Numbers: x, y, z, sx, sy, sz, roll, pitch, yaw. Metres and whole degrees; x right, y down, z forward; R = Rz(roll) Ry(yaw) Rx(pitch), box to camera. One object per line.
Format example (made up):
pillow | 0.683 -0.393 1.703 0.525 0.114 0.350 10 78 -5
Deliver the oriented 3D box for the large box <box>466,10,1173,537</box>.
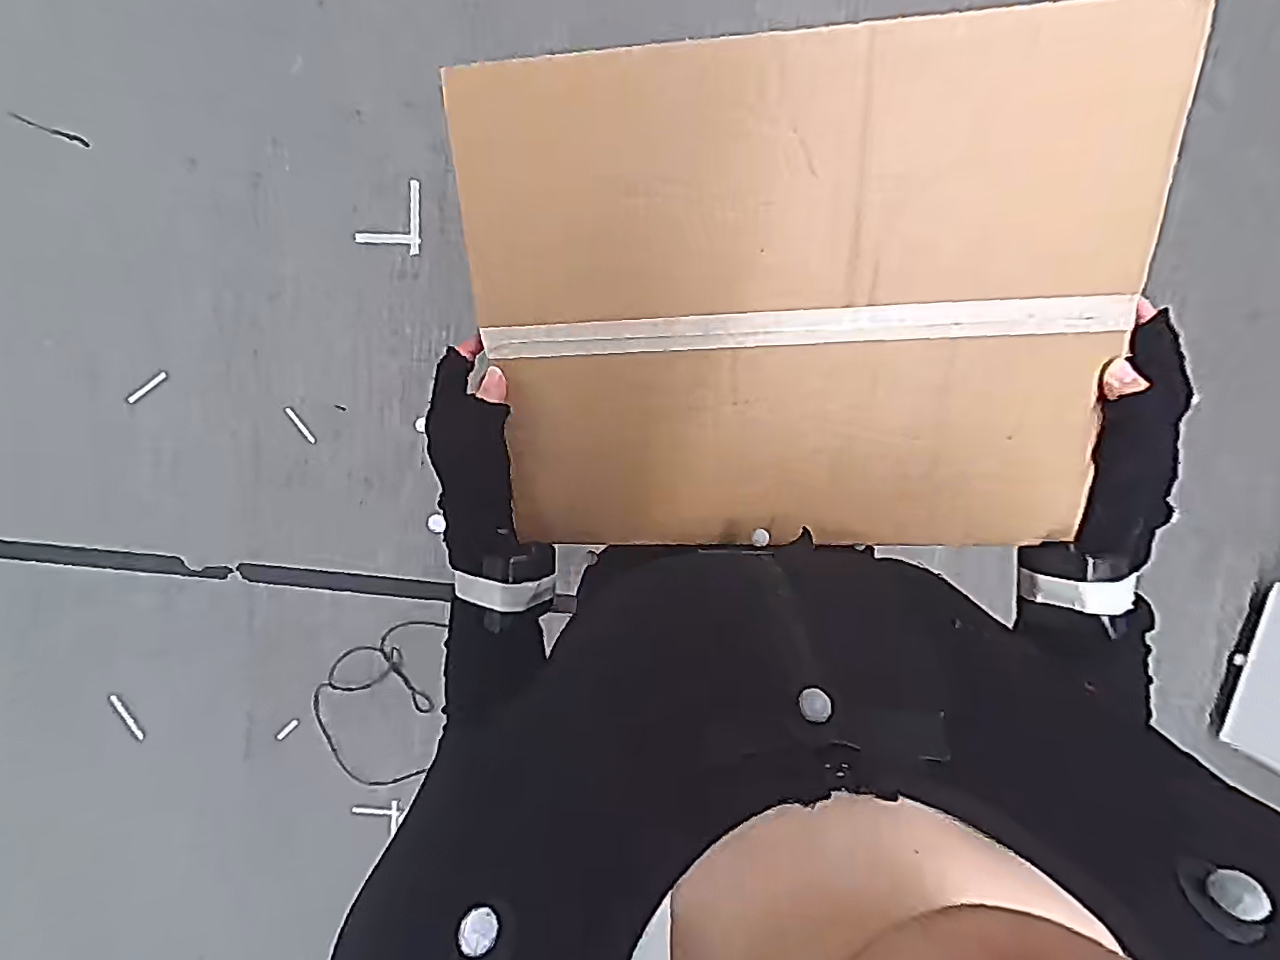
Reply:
large box | 0.111 -0.156 0.501 0.408 0.320 0.320 -1 113 6
